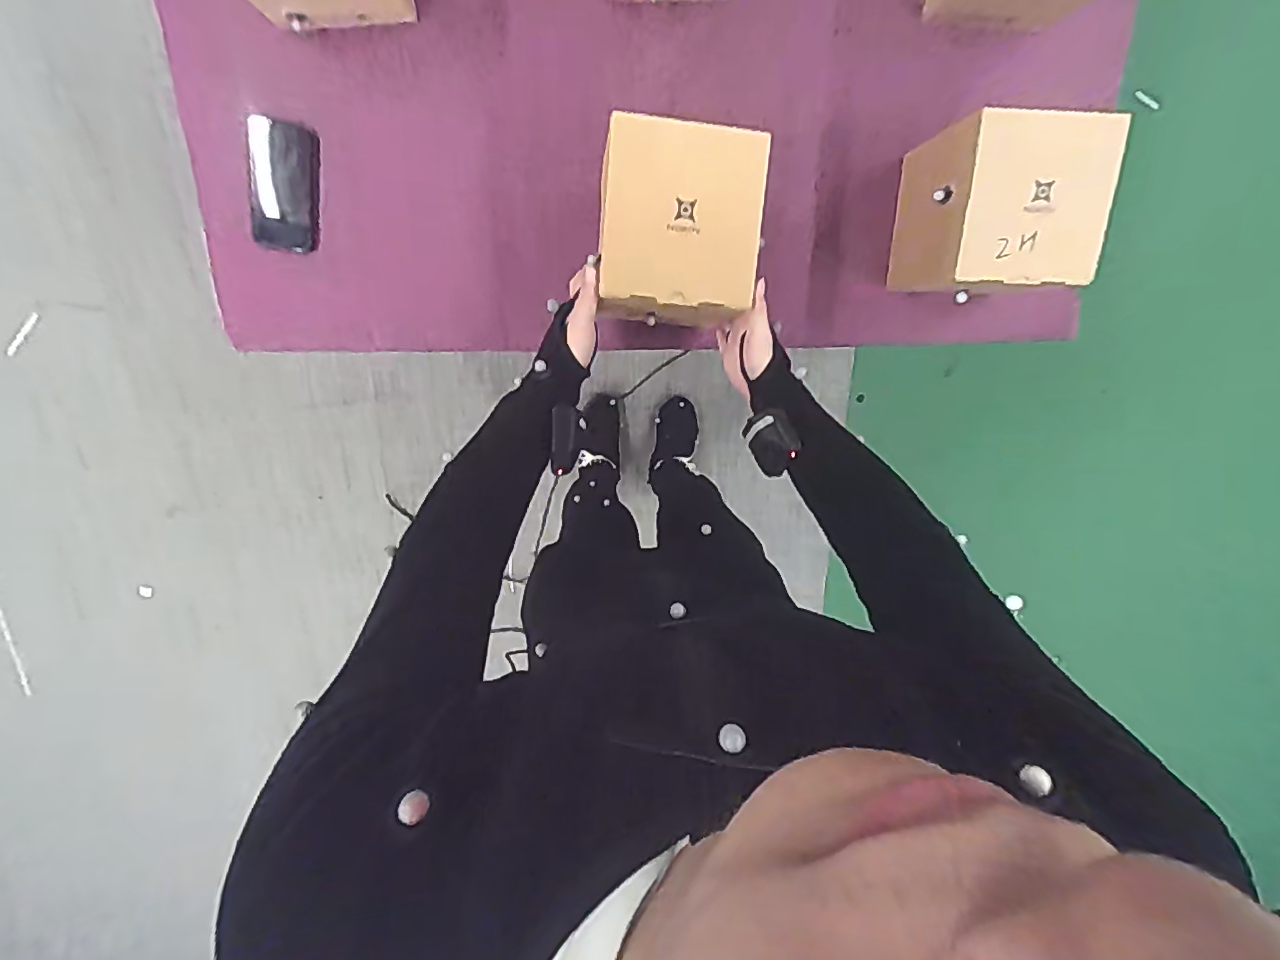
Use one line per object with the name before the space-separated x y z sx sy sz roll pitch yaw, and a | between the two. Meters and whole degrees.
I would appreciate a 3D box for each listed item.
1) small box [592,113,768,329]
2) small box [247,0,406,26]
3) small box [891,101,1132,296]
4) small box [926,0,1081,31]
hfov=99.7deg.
small box | 0.033 -0.278 0.621 0.168 0.176 0.179 3 101 -7
small box | -0.360 -0.604 0.552 0.168 0.176 0.179 -6 105 -2
small box | 0.432 -0.327 0.663 0.168 0.176 0.179 1 105 -1
small box | 0.437 -0.635 0.581 0.168 0.176 0.179 1 105 -2
